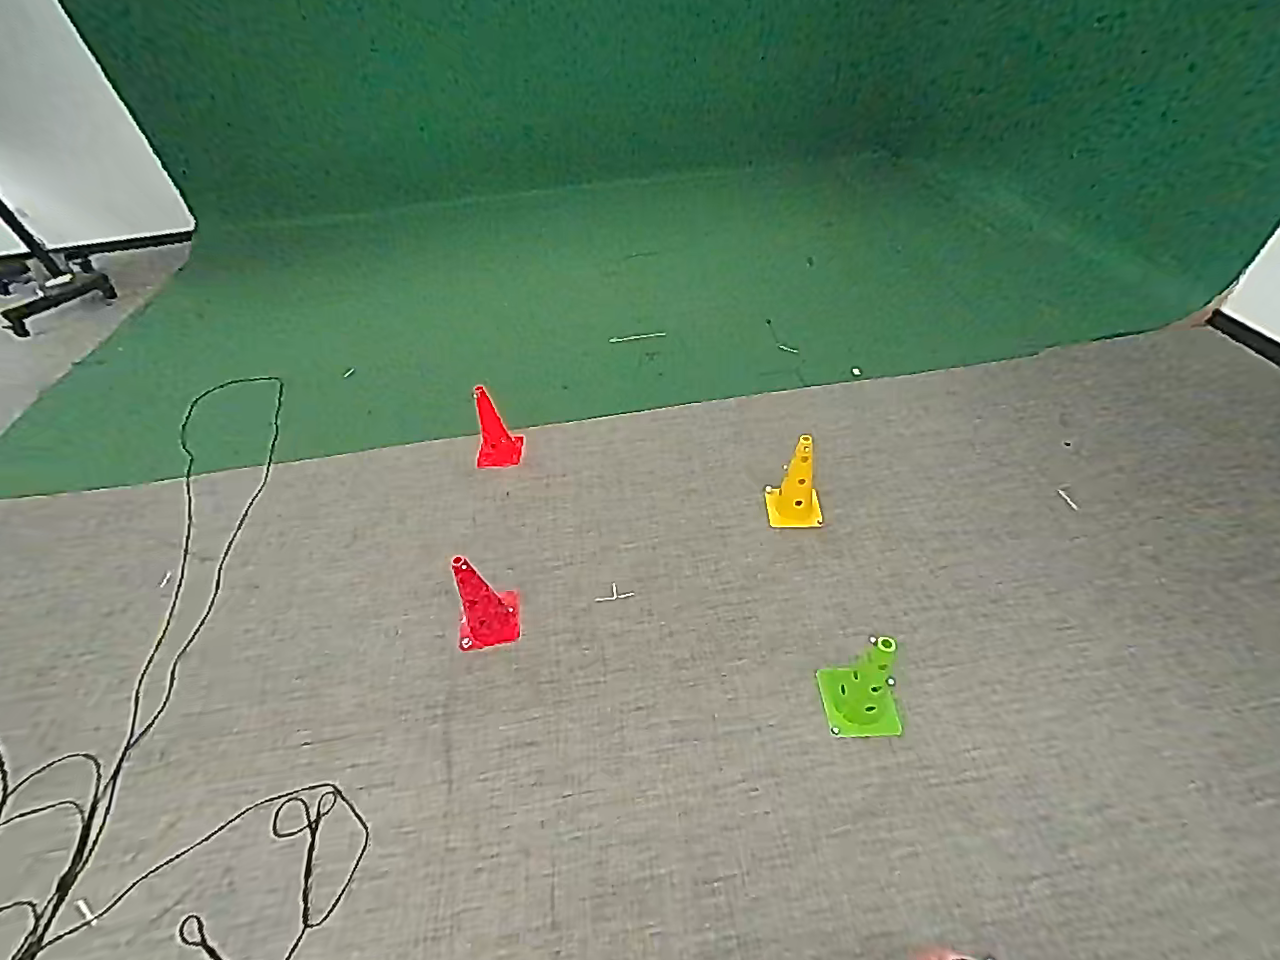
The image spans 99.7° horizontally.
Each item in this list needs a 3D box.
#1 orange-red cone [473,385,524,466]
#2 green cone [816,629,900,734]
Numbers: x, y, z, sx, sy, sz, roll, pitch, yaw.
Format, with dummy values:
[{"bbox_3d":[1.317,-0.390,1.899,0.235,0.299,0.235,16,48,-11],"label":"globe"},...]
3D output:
[{"bbox_3d":[-0.651,-0.254,2.331,0.199,0.360,0.198,-4,45,4],"label":"orange-red cone"},{"bbox_3d":[0.624,0.517,1.467,0.200,0.368,0.202,-4,45,1],"label":"green cone"}]
